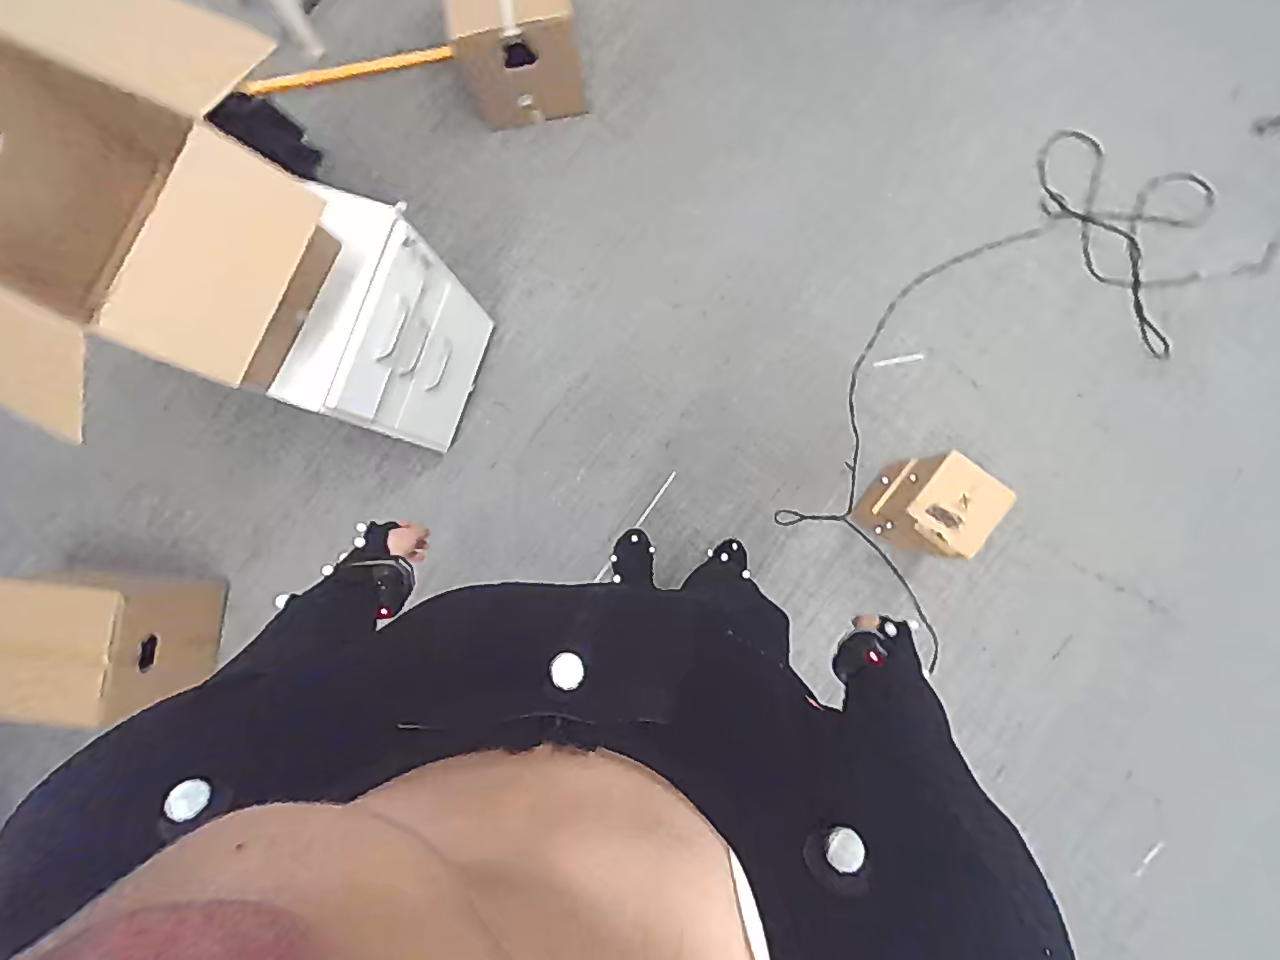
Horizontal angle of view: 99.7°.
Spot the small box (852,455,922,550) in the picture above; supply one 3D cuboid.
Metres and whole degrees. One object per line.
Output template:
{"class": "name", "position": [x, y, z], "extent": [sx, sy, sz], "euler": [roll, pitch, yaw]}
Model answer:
{"class": "small box", "position": [0.670, 0.063, 1.384], "extent": [0.168, 0.176, 0.179], "euler": [38, 87, 6]}

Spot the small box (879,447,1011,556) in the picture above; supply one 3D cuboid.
{"class": "small box", "position": [0.671, 0.053, 1.220], "extent": [0.168, 0.176, 0.179], "euler": [38, 86, 6]}
